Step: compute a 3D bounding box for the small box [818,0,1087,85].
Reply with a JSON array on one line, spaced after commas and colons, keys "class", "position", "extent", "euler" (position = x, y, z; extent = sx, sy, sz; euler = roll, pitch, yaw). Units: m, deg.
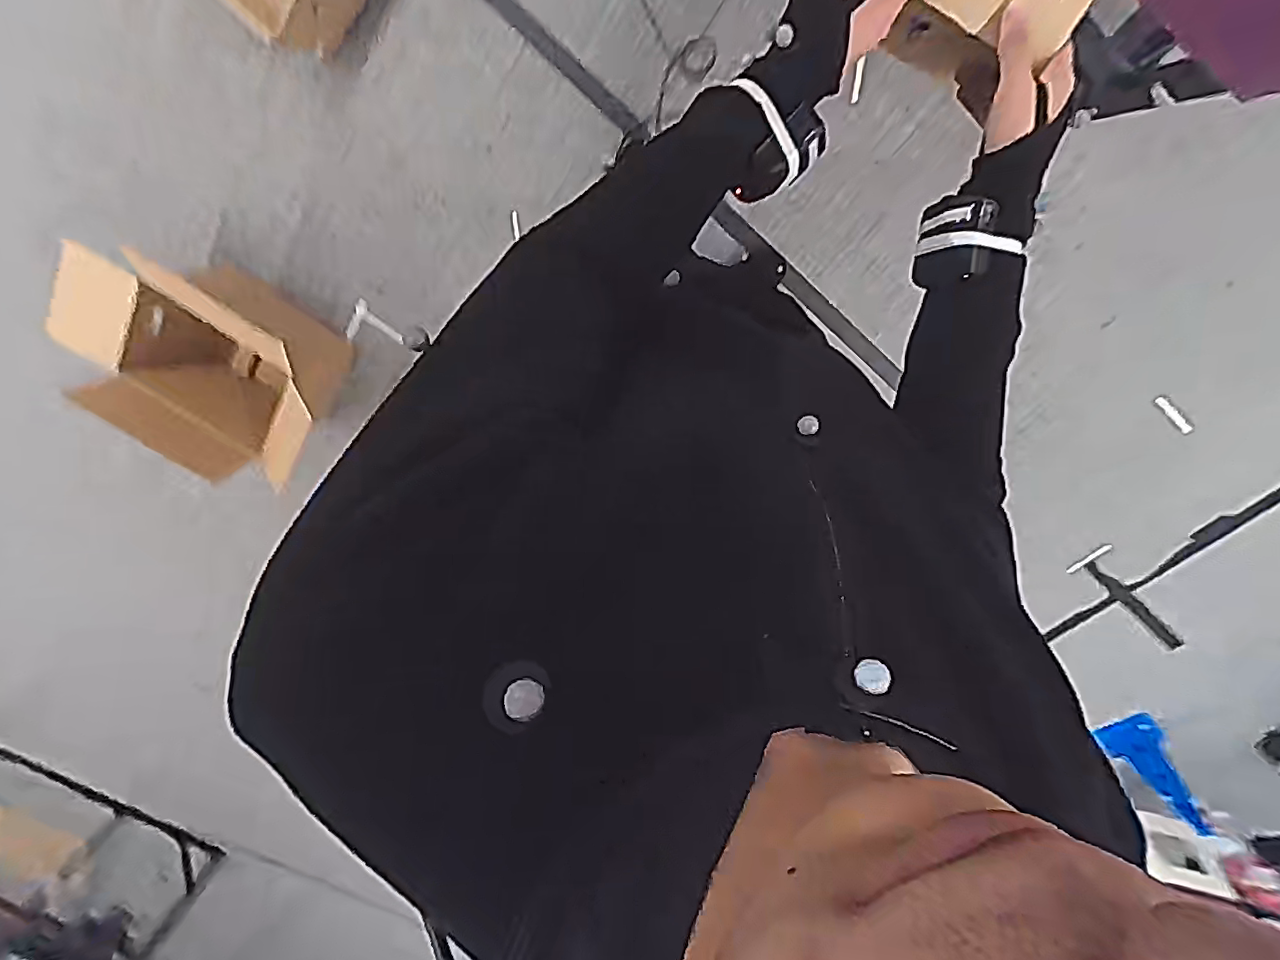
[{"class": "small box", "position": [0.275, -0.458, 0.446], "extent": [0.179, 0.176, 0.168], "euler": [22, 121, -11]}]
